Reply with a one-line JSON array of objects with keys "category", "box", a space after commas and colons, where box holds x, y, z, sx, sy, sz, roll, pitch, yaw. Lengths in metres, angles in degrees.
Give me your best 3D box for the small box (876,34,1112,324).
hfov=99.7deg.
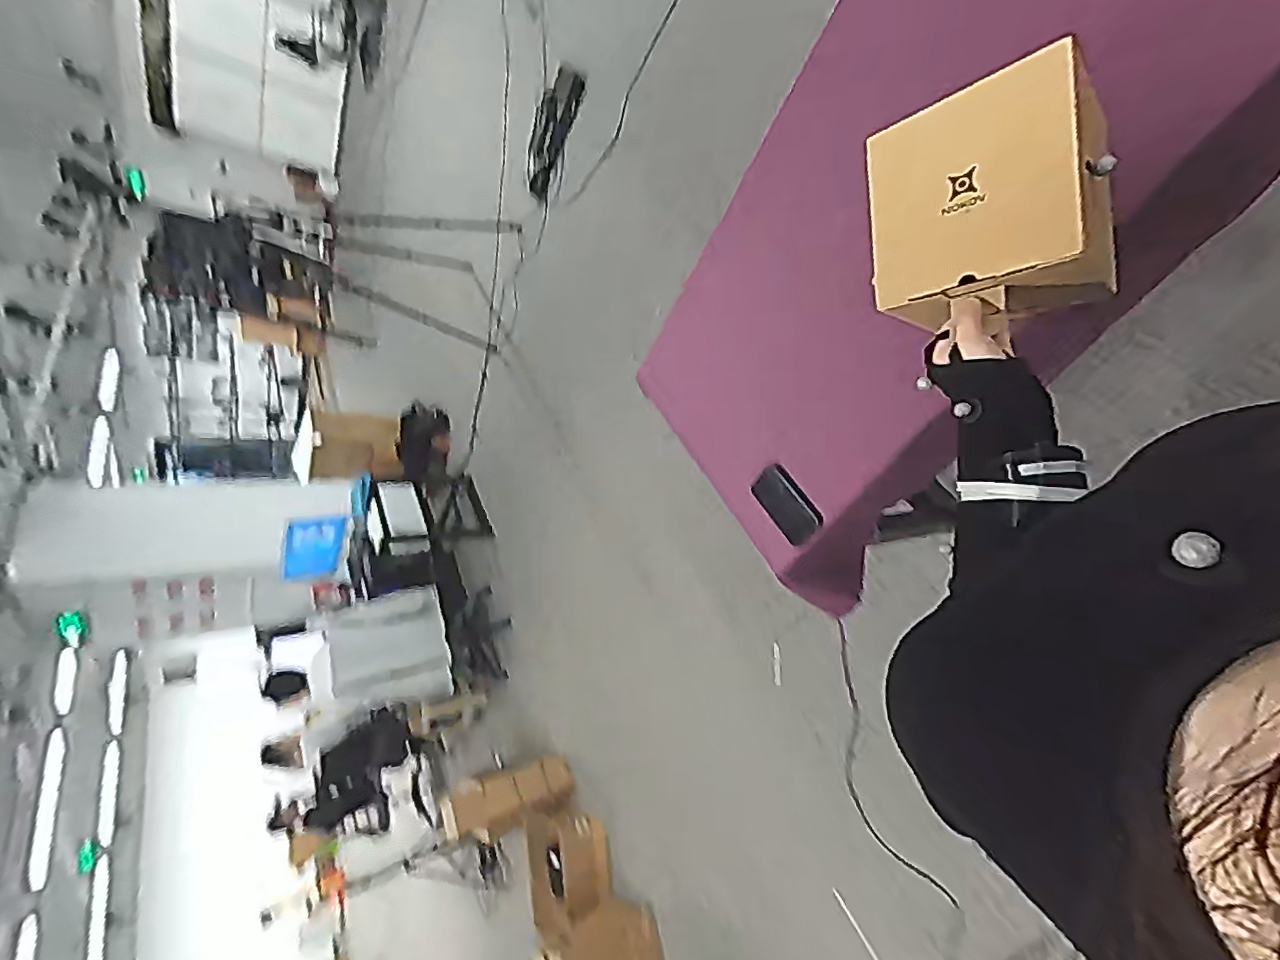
[{"category": "small box", "box": [0.352, -0.269, 0.538, 0.168, 0.176, 0.179, -1, 93, 46]}]
